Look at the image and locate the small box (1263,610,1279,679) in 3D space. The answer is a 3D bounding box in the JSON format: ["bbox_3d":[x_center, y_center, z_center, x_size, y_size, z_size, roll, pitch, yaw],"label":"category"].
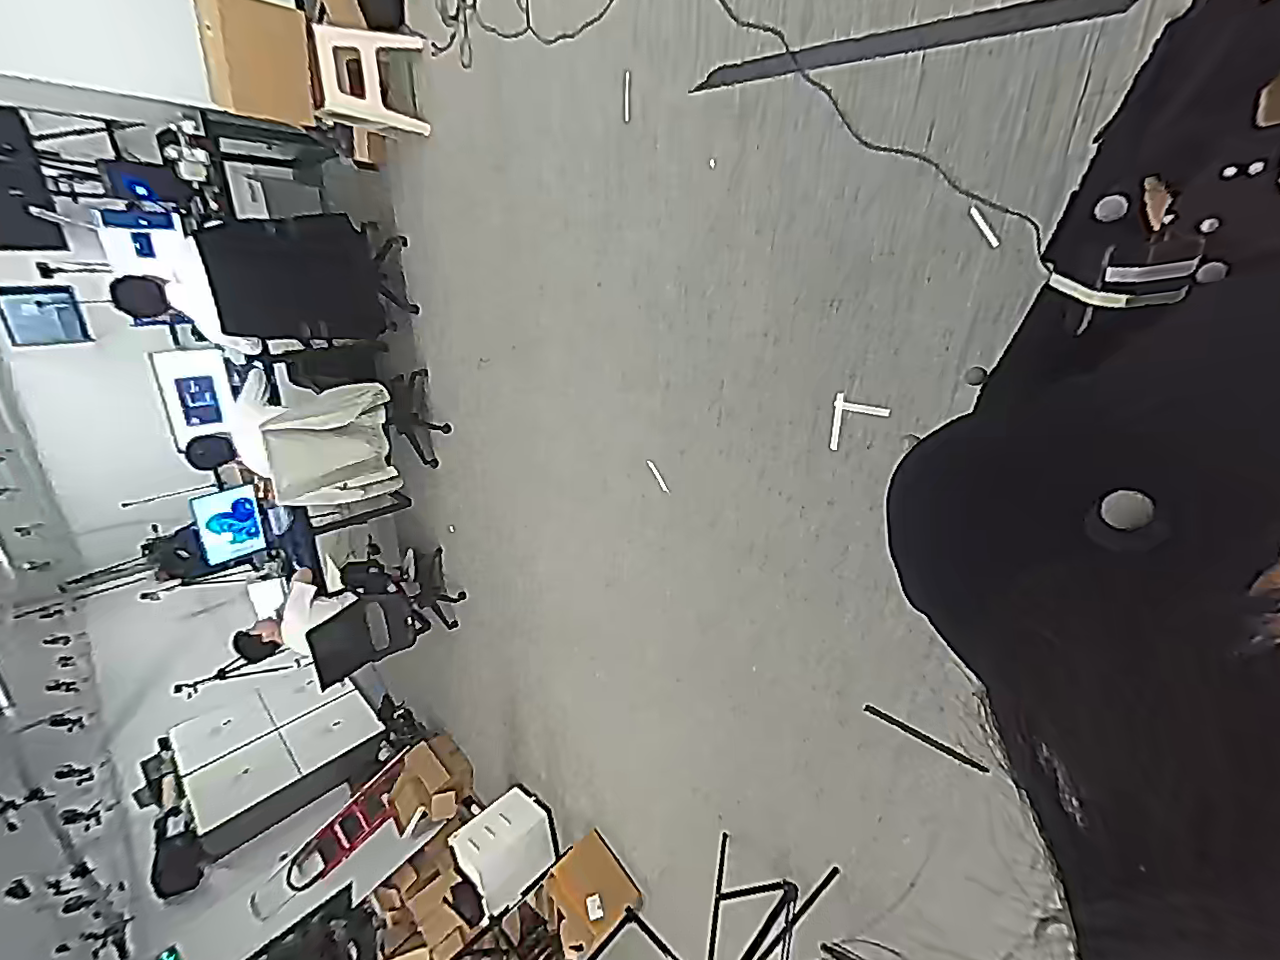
[{"bbox_3d":[1.272,0.331,0.966,0.179,0.176,0.168,-28,86,47],"label":"small box"}]

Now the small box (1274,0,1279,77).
[{"bbox_3d":[0.460,-0.341,0.275,0.168,0.176,0.179,7,103,47],"label":"small box"}]
